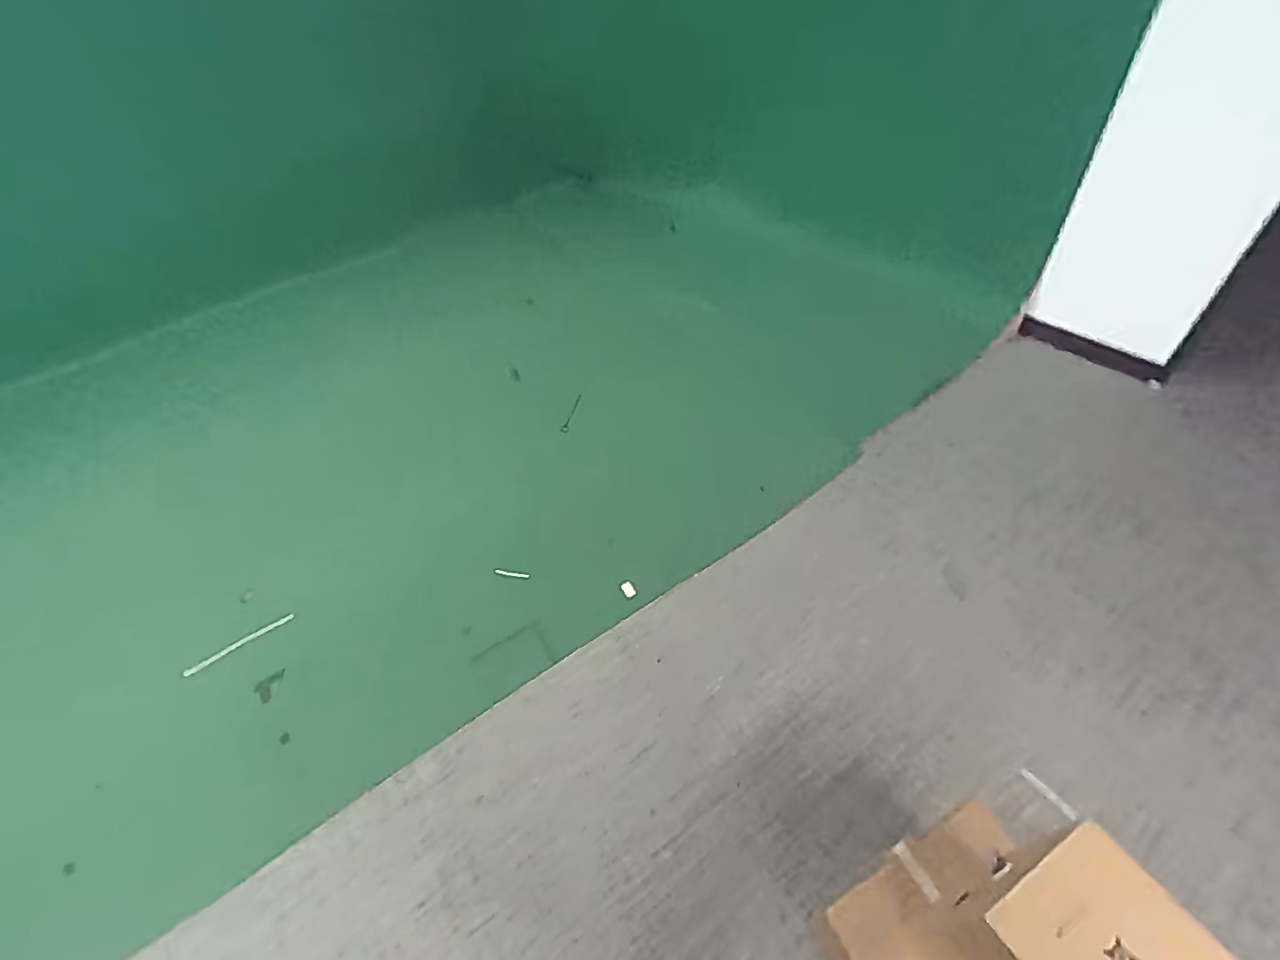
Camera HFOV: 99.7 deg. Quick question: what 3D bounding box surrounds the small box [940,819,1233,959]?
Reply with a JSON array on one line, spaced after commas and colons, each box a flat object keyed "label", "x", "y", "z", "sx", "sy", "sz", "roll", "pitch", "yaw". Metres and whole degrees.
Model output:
[{"label": "small box", "x": 0.454, "y": 0.497, "z": 0.557, "sx": 0.168, "sy": 0.176, "sz": 0.179, "roll": -27, "pitch": 49, "yaw": -16}]

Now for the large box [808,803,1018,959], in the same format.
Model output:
[{"label": "large box", "x": 0.519, "y": 0.800, "z": 0.824, "sx": 0.320, "sy": 0.320, "sz": 0.408, "roll": -26, "pitch": 50, "yaw": -12}]
